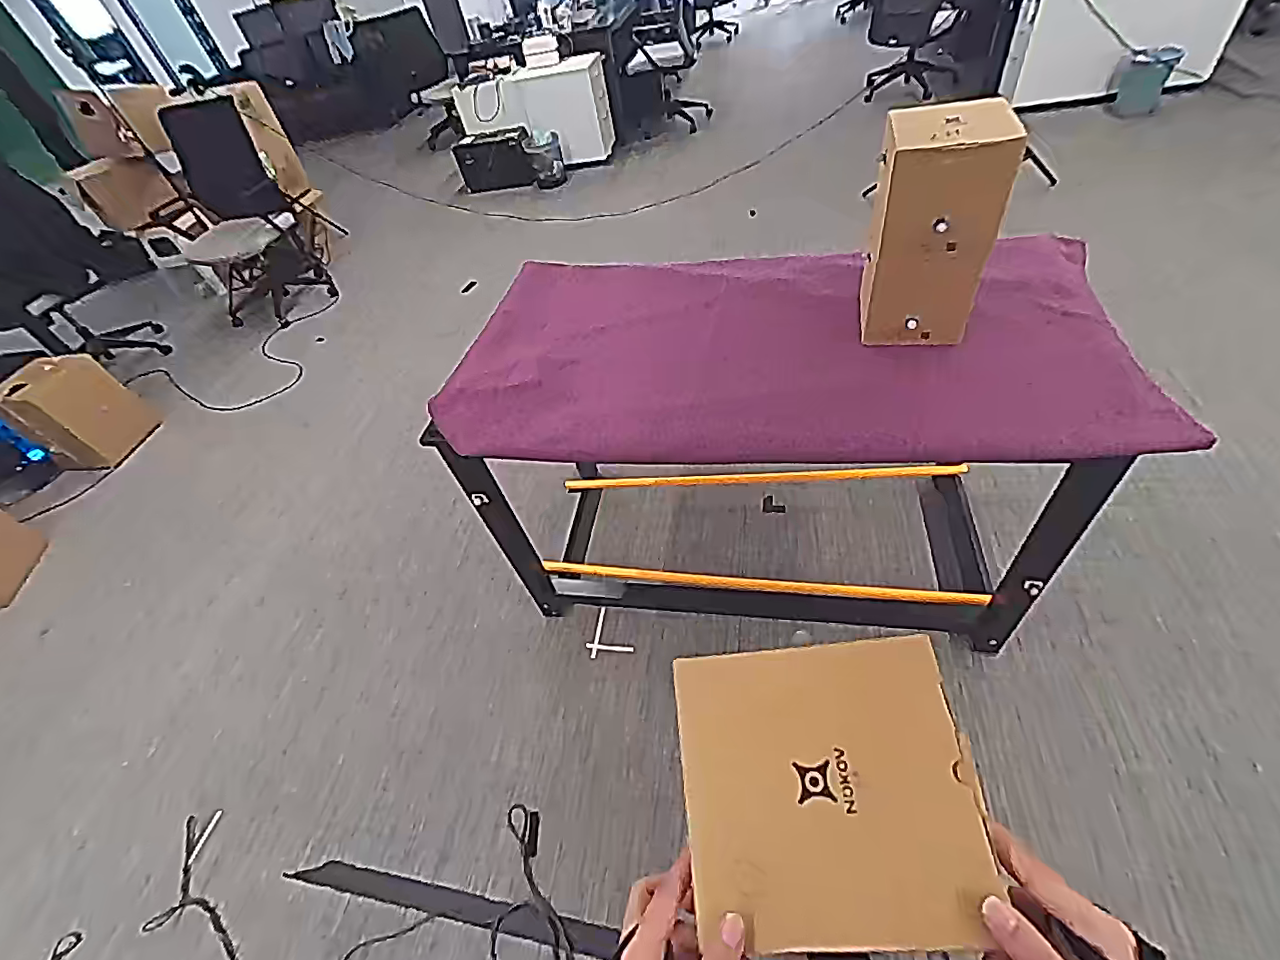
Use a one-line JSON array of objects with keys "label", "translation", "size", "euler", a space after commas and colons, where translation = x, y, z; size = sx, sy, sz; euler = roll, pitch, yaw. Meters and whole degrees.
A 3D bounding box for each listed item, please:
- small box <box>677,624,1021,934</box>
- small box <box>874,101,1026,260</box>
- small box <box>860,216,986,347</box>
[{"label": "small box", "translation": [0.132, 0.217, 0.406], "size": [0.179, 0.176, 0.168], "euler": [-9, 61, 9]}, {"label": "small box", "translation": [0.473, -0.470, 0.857], "size": [0.168, 0.176, 0.179], "euler": [3, 50, 17]}, {"label": "small box", "translation": [0.498, -0.362, 0.979], "size": [0.168, 0.176, 0.179], "euler": [4, 50, 16]}]
